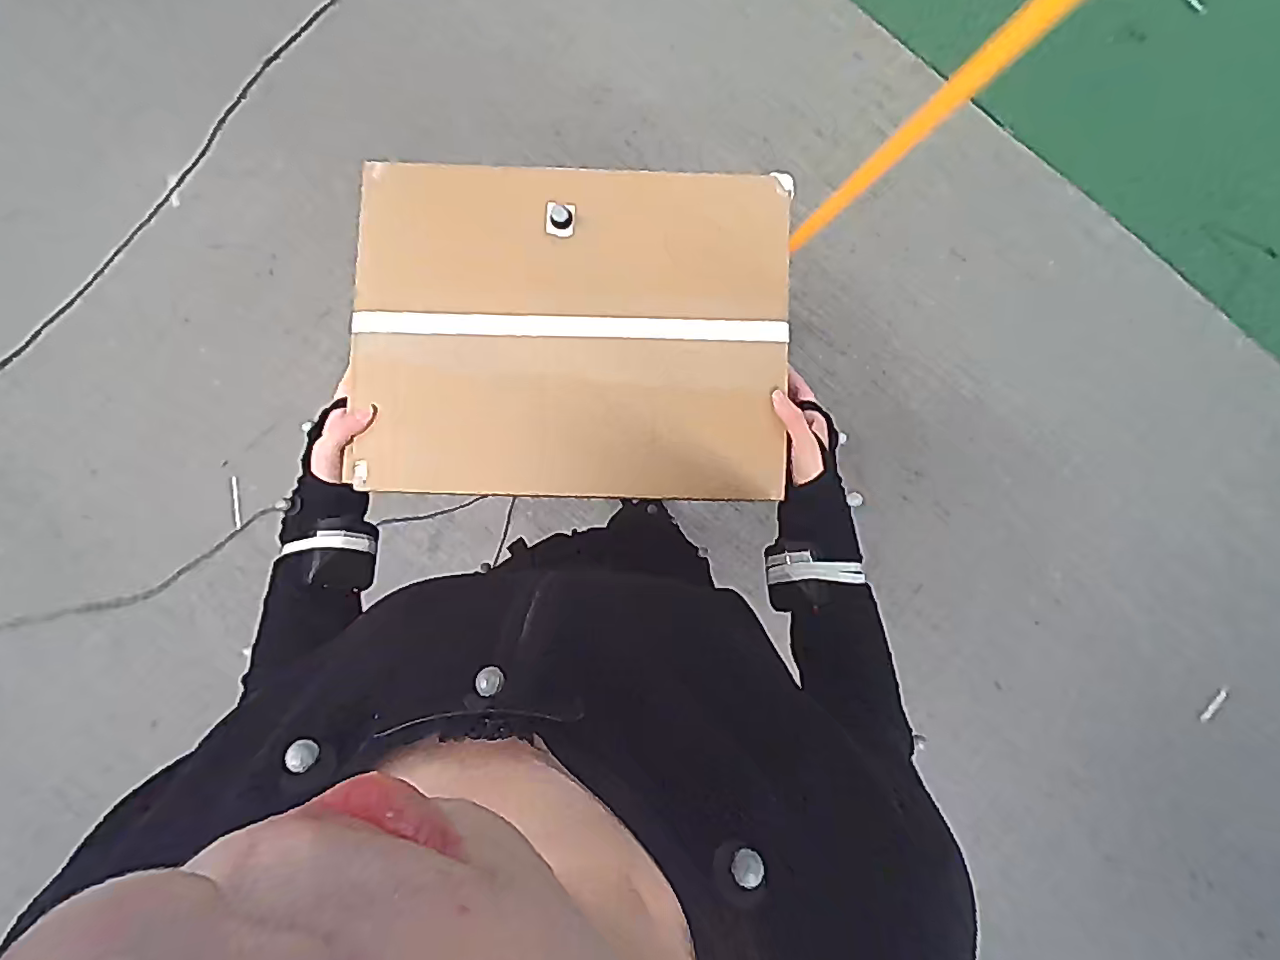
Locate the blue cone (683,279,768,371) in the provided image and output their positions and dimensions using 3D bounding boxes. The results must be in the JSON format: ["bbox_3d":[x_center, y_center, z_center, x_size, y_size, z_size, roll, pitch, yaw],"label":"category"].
[{"bbox_3d":[0.247,-0.418,1.332,0.193,0.380,0.192,38,88,-2],"label":"blue cone"}]
